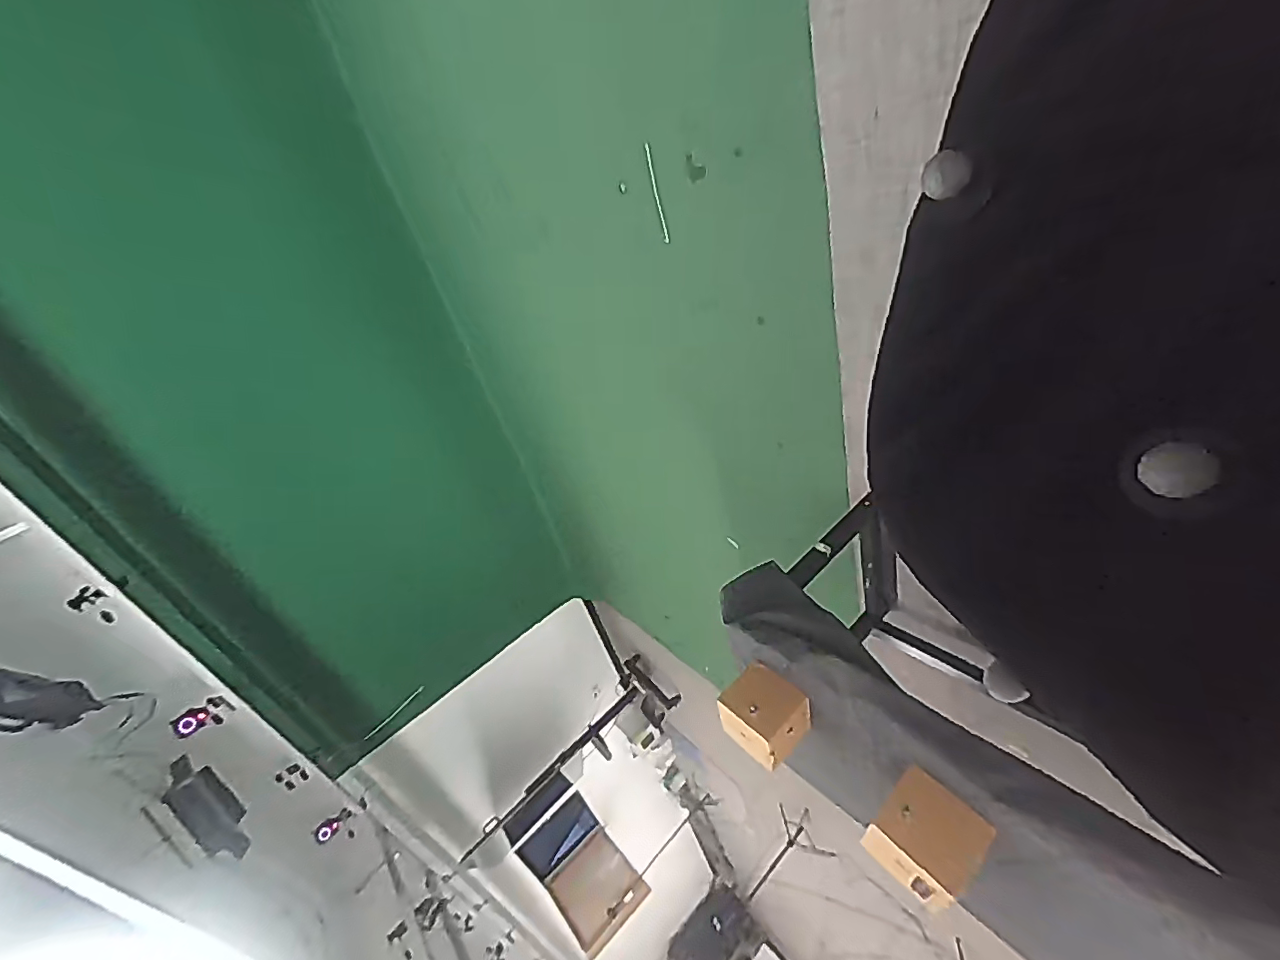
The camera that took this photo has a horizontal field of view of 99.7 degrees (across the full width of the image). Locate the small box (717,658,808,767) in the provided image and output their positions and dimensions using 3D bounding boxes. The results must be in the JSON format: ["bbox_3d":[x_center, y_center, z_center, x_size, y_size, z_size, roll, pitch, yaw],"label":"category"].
[{"bbox_3d":[0.335,0.617,1.455,0.179,0.176,0.168,29,144,43],"label":"small box"}]
